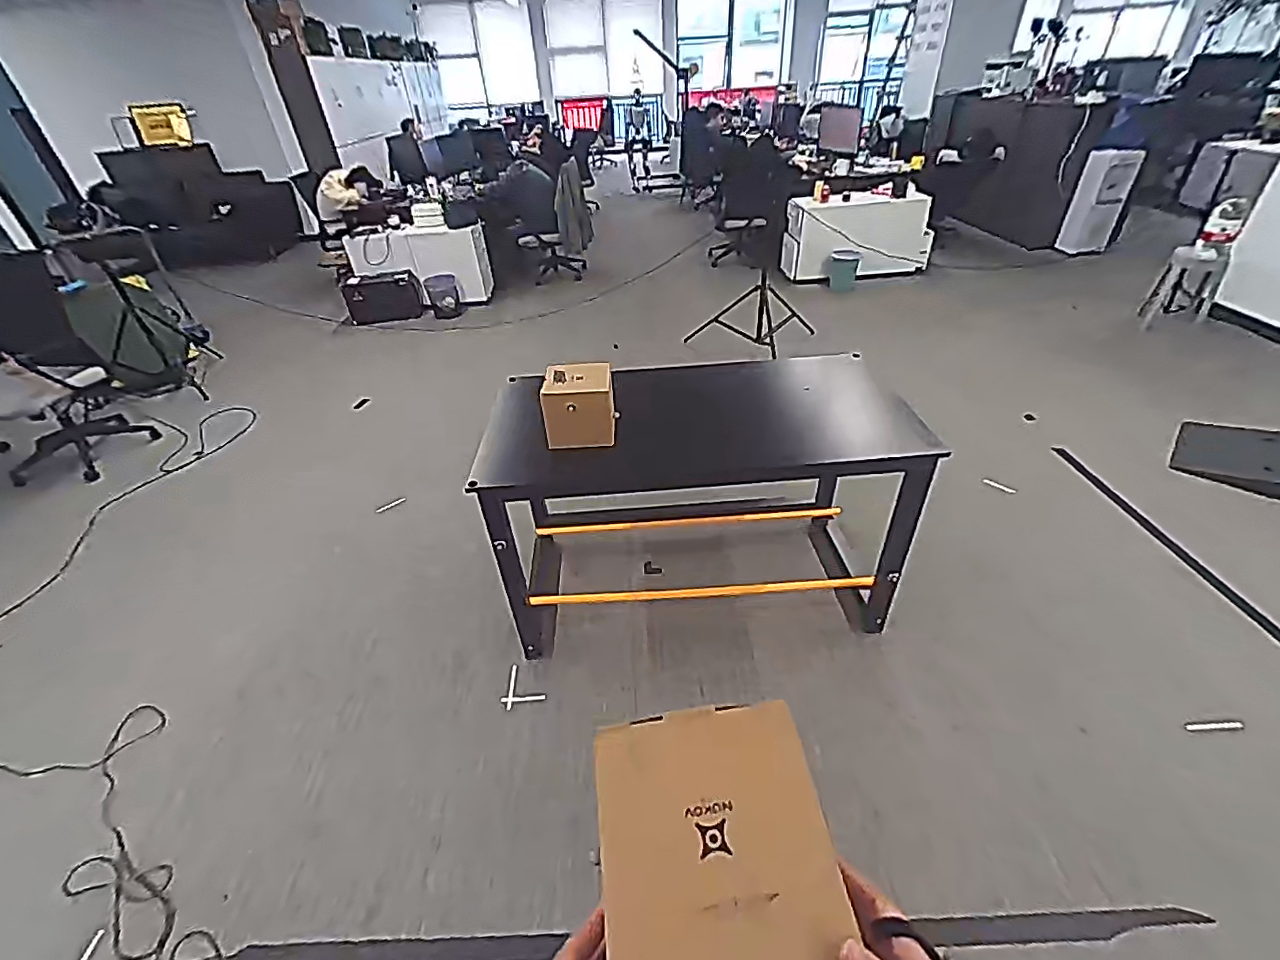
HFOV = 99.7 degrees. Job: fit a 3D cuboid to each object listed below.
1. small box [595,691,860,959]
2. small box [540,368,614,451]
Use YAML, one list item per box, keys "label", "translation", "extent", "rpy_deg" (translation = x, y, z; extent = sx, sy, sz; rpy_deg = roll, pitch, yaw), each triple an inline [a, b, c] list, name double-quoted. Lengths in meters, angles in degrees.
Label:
- label: "small box"
  translation: [0.056, 0.307, 0.456]
  extent: [0.168, 0.176, 0.179]
  rpy_deg: [-8, 45, -2]
- label: "small box"
  translation: [-0.165, -0.191, 1.473]
  extent: [0.179, 0.176, 0.168]
  rpy_deg: [-3, 37, 0]
